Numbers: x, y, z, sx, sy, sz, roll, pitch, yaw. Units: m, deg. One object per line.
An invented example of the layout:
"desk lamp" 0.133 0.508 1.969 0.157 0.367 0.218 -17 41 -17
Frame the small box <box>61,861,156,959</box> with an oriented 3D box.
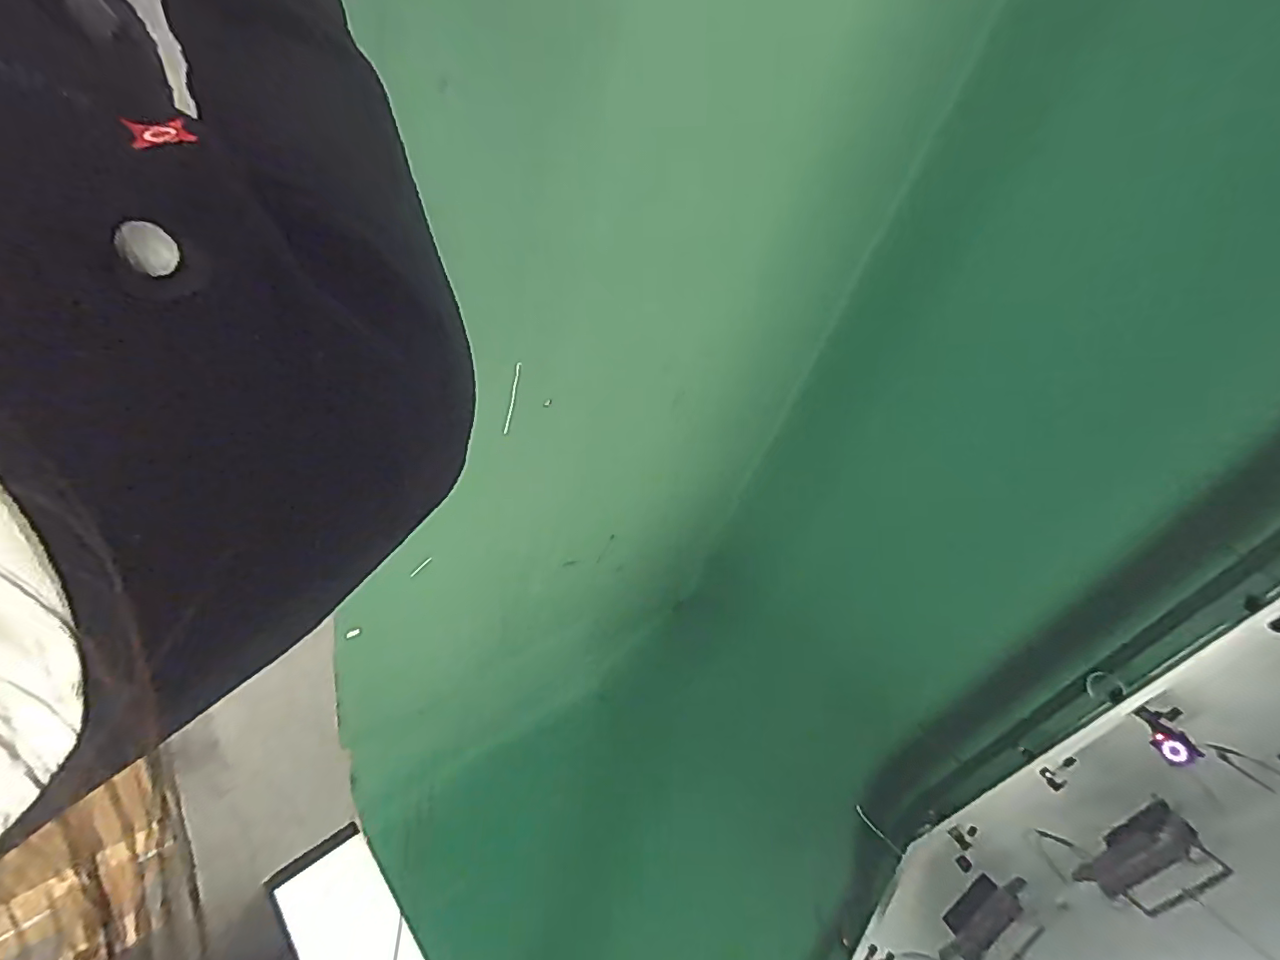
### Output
"small box" -1.567 1.287 1.593 0.179 0.176 0.168 -15 134 -48
